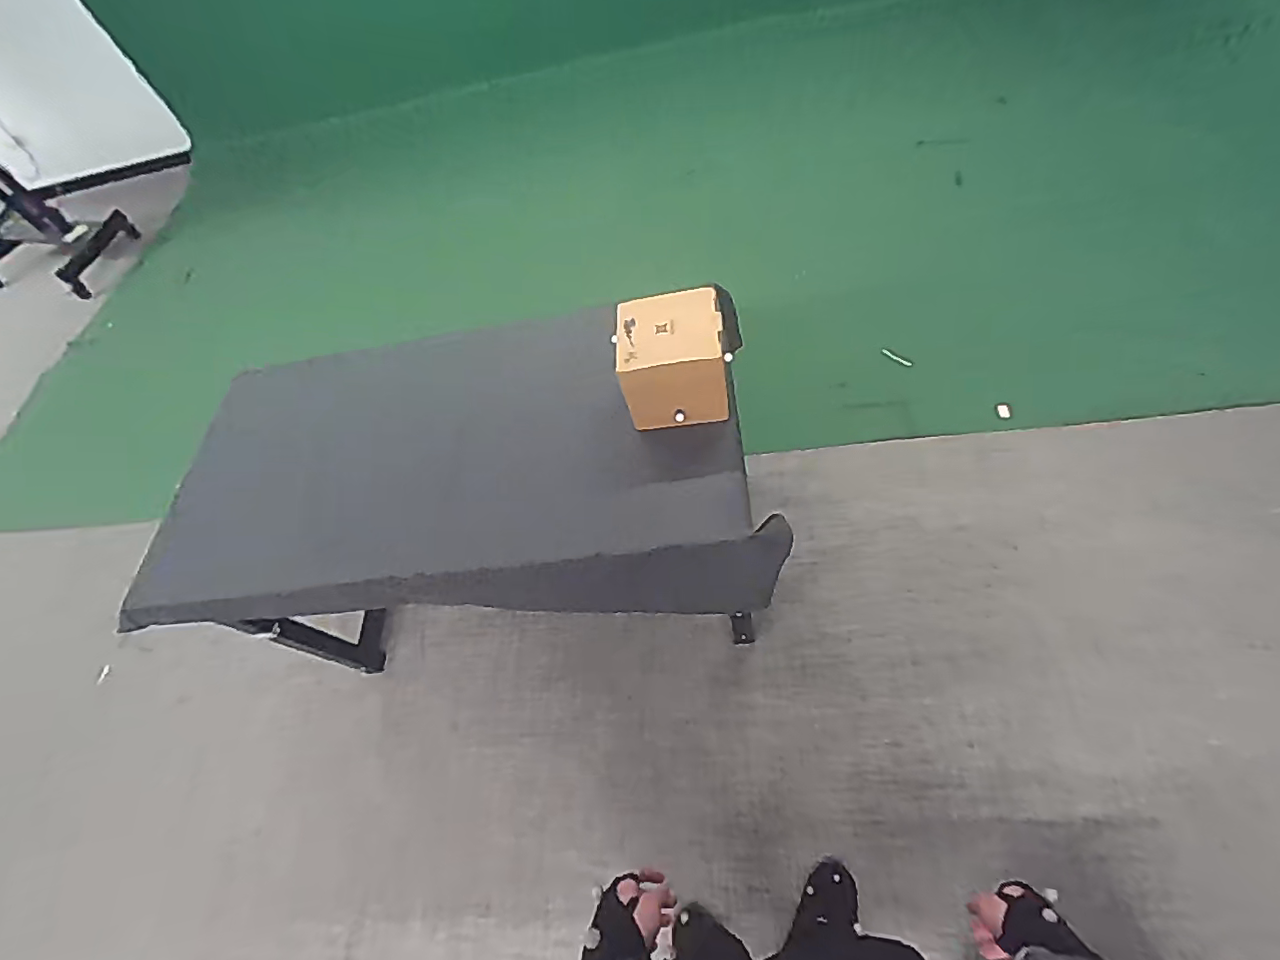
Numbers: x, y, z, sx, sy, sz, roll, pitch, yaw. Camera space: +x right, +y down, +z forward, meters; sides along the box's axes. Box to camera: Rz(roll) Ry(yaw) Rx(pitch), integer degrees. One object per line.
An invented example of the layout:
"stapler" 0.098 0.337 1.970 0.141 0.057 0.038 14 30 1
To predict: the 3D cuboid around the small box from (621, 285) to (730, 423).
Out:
"small box" 0.068 -0.219 0.968 0.179 0.176 0.168 -4 58 9
